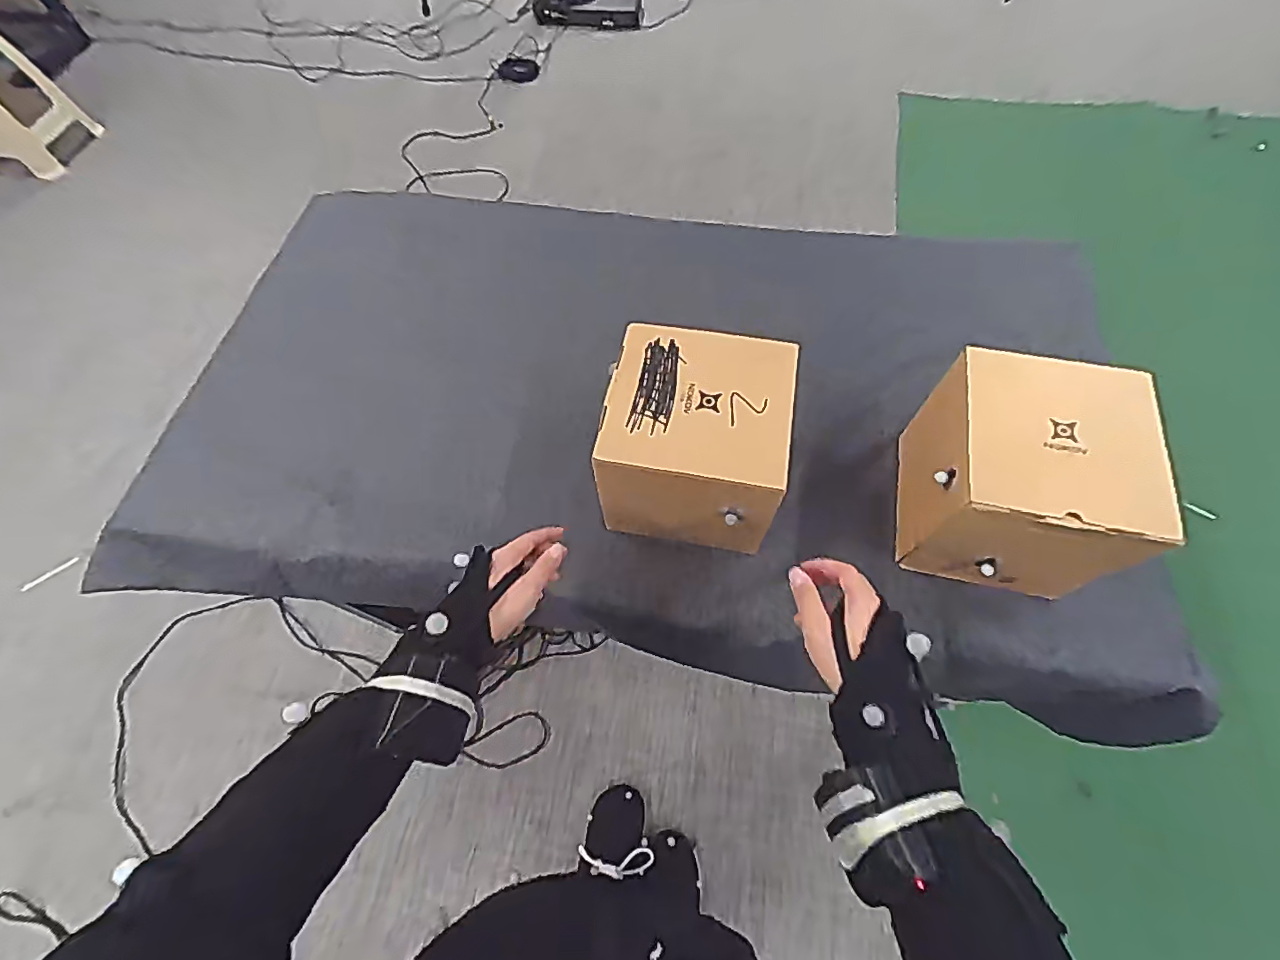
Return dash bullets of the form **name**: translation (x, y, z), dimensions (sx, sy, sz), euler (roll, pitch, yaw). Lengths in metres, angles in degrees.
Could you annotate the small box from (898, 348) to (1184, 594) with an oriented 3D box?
- **small box**: translation (0.379, -0.002, 0.551), dimensions (0.168, 0.176, 0.179), euler (11, 65, 8)
